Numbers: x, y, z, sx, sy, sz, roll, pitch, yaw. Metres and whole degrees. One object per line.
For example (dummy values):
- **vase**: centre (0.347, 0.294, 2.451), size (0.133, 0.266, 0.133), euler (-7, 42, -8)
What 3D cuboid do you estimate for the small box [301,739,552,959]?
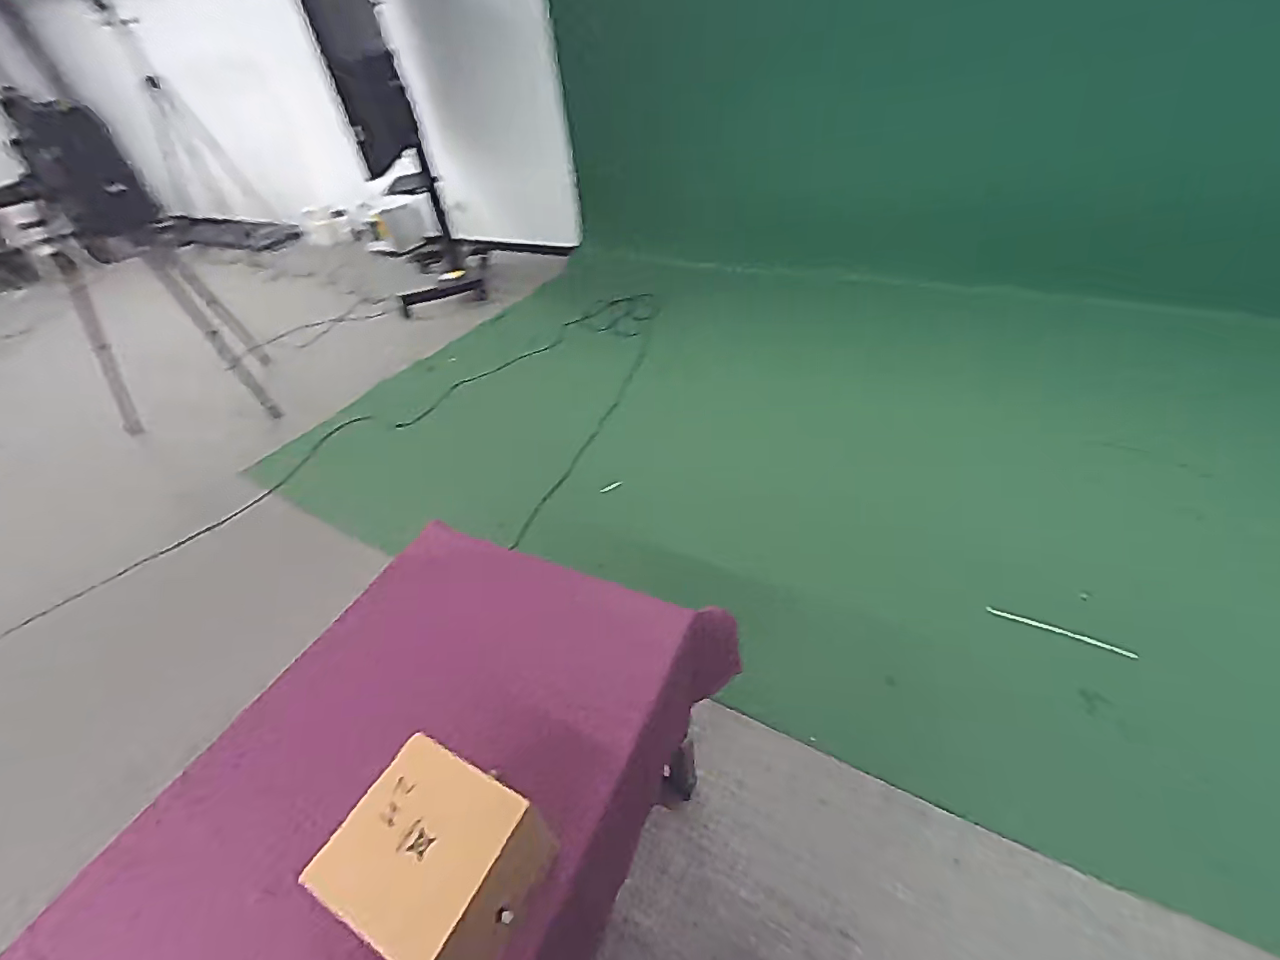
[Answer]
- **small box**: centre (-0.222, 0.437, 0.610), size (0.179, 0.176, 0.168), euler (16, 45, 25)
